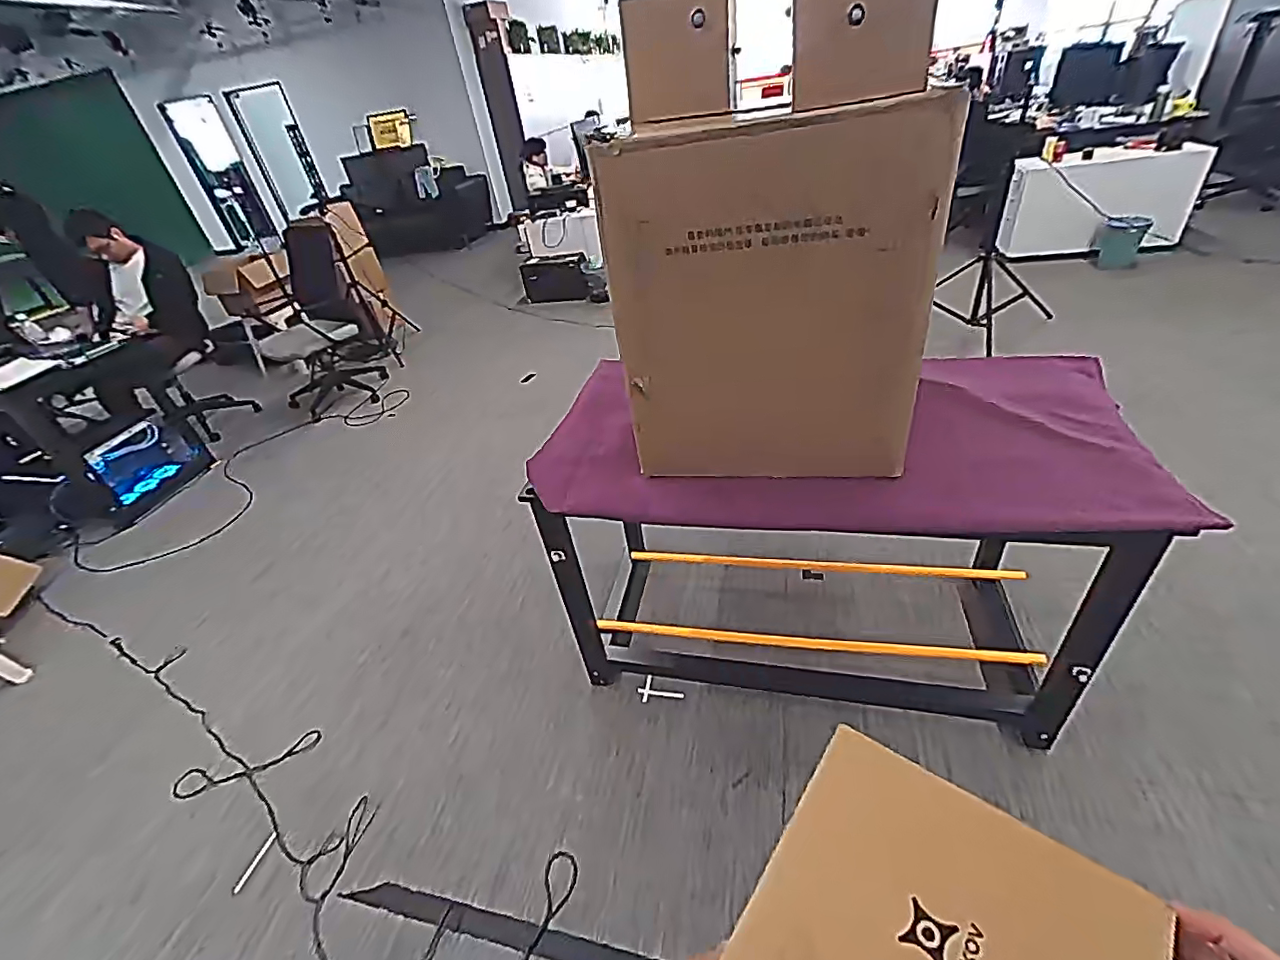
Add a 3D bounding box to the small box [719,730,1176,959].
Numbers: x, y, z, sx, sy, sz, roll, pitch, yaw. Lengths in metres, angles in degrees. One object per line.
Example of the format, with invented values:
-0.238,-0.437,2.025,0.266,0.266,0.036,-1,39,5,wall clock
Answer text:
0.169,0.302,0.329,0.179,0.176,0.168,21,49,35,small box
